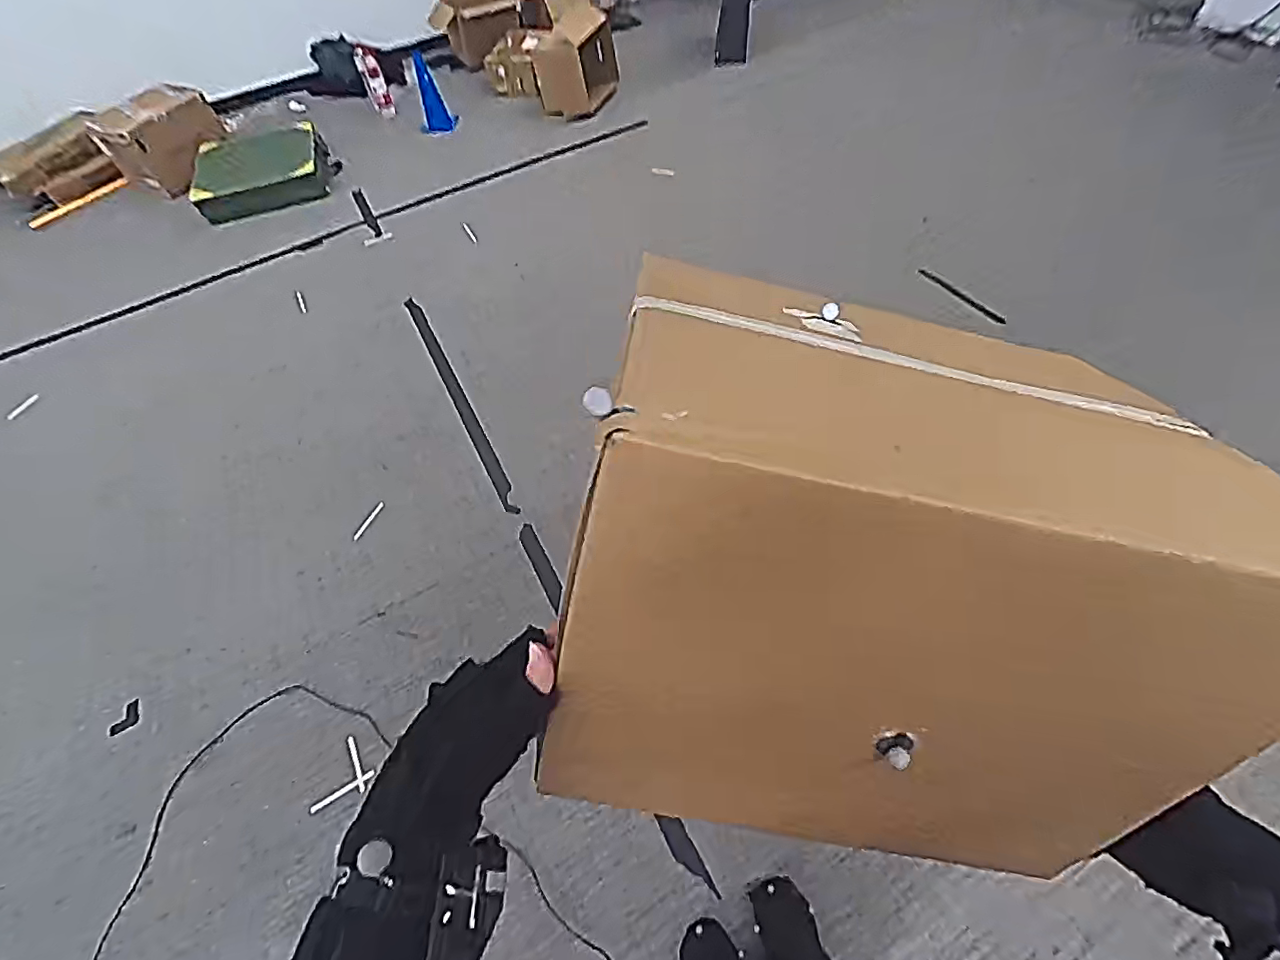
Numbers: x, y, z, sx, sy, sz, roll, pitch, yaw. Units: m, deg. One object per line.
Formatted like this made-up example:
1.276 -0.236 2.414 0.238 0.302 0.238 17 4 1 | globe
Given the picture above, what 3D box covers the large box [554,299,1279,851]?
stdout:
0.161 0.071 0.473 0.408 0.320 0.320 10 33 -2 | large box
